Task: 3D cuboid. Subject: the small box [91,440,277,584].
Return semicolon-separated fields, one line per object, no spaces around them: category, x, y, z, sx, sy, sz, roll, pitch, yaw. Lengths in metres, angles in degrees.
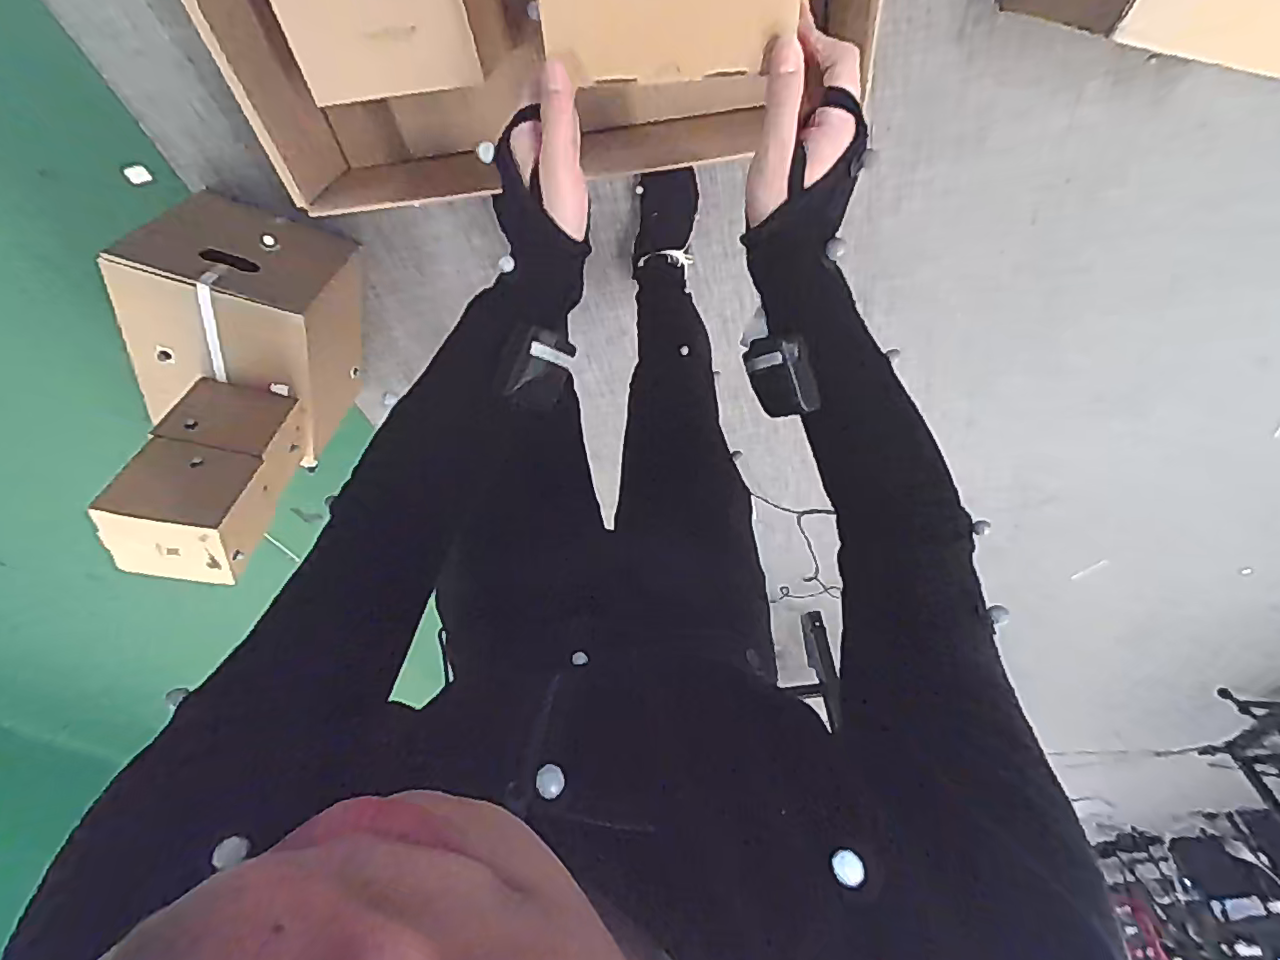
small box;-0.769;0.053;0.937;0.179;0.176;0.168;13;134;-15

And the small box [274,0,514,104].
small box;-0.225;-0.472;0.491;0.168;0.176;0.179;-4;137;5

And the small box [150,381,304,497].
small box;-0.784;-0.068;1.048;0.179;0.176;0.168;13;135;-16

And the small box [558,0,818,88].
small box;0.033;-0.388;0.366;0.168;0.176;0.179;1;135;6

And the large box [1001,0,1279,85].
large box;0.819;-0.763;0.720;0.408;0.320;0.320;6;135;-7
